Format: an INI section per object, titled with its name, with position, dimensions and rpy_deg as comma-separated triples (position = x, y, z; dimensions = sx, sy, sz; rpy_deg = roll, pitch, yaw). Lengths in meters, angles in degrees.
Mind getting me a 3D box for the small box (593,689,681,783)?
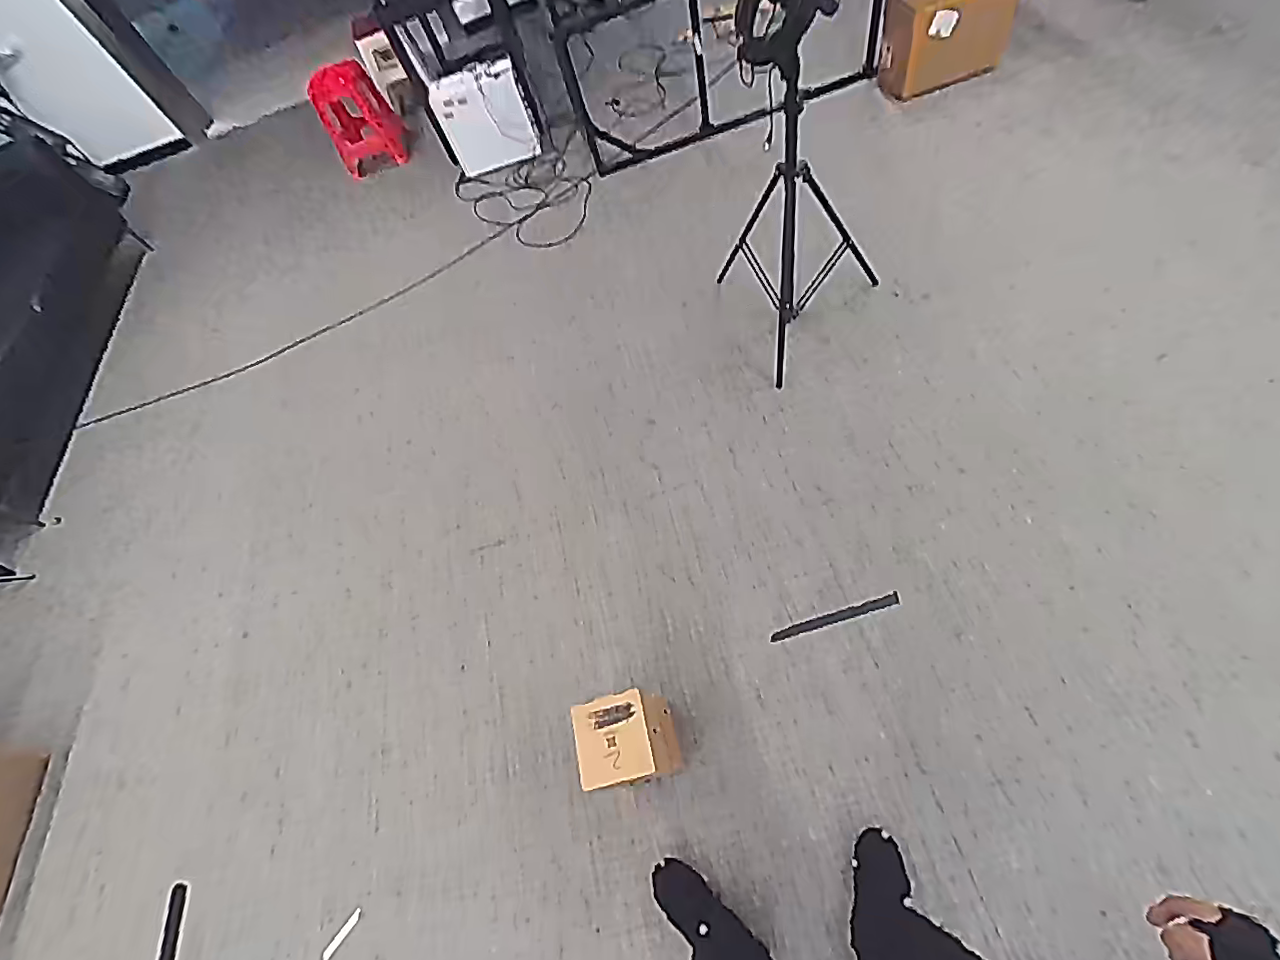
[small box]
position = -0.006, 0.660, 1.386
dimensions = 0.168, 0.176, 0.179
rpy_deg = -20, 58, 4
